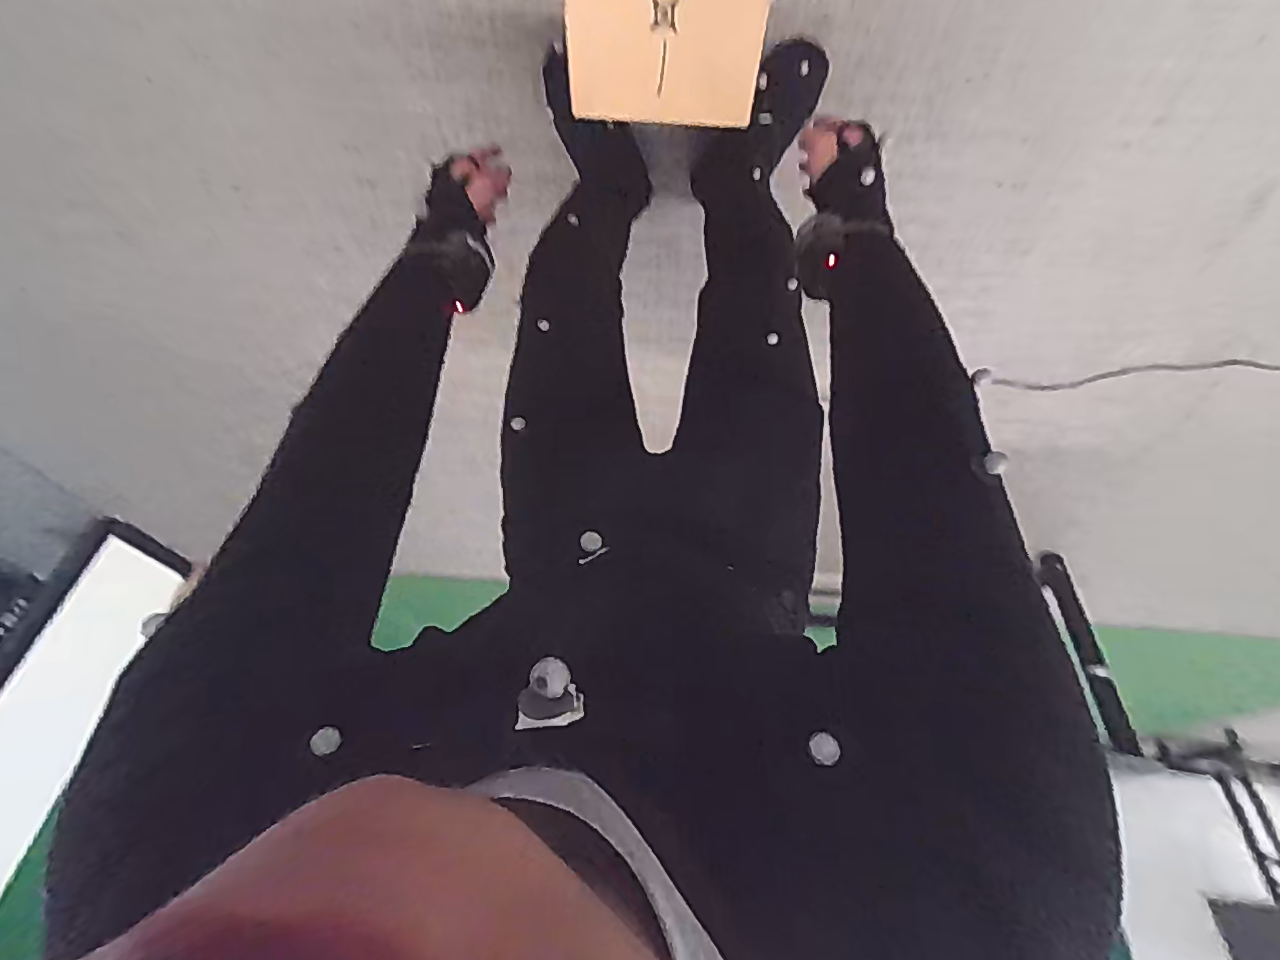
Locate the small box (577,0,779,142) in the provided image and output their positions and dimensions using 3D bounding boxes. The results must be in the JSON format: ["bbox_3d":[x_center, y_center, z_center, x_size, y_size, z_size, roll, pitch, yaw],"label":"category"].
[{"bbox_3d":[0.033,-0.442,0.490,0.168,0.176,0.179,4,146,1],"label":"small box"}]
